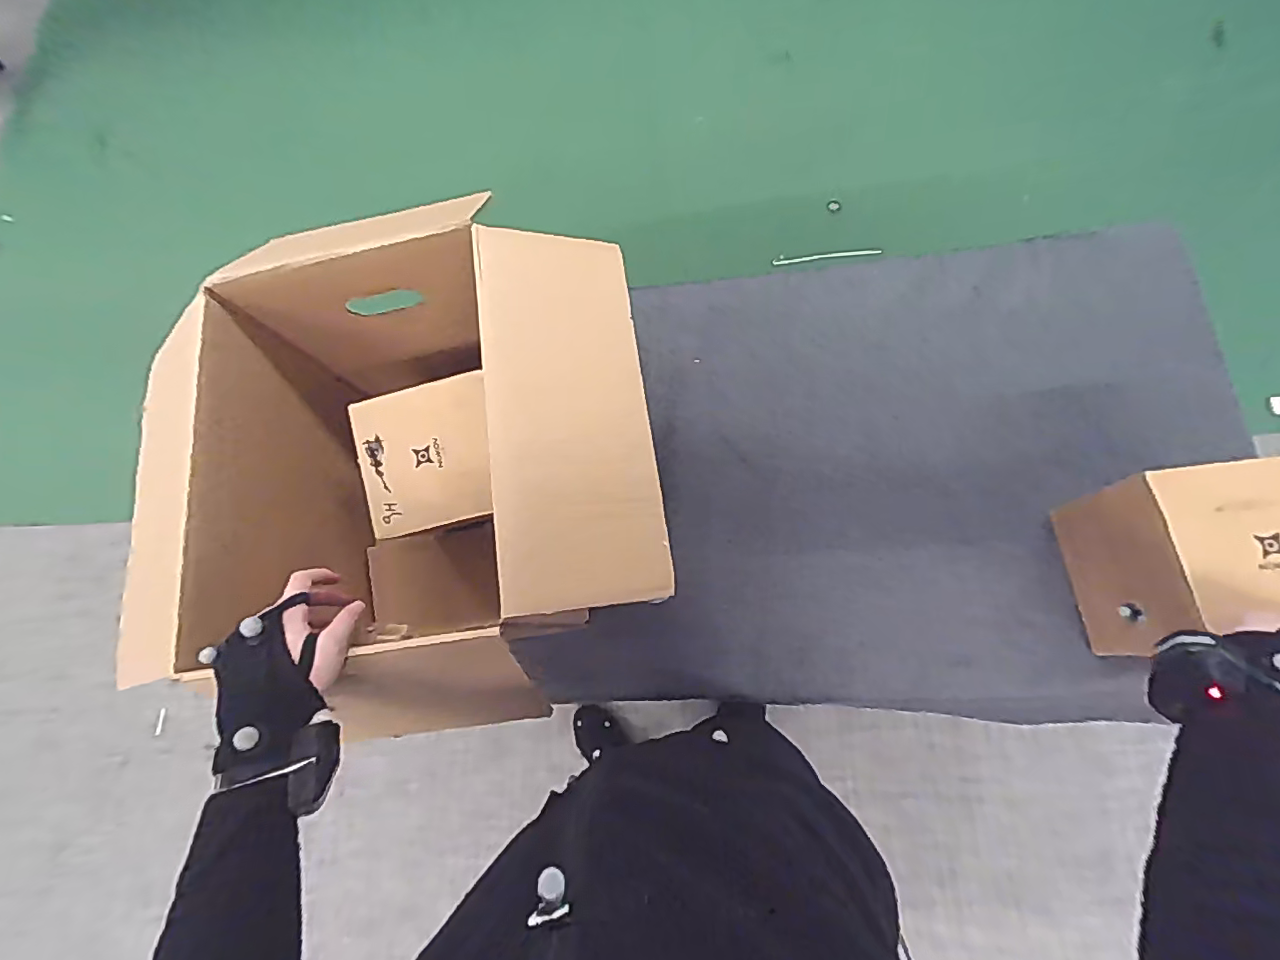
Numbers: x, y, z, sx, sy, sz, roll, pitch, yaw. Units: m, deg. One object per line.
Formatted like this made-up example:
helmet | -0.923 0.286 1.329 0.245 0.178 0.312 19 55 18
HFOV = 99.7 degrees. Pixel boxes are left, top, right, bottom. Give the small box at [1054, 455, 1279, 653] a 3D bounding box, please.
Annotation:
small box | 0.597 0.086 0.577 0.168 0.176 0.179 -7 71 5
